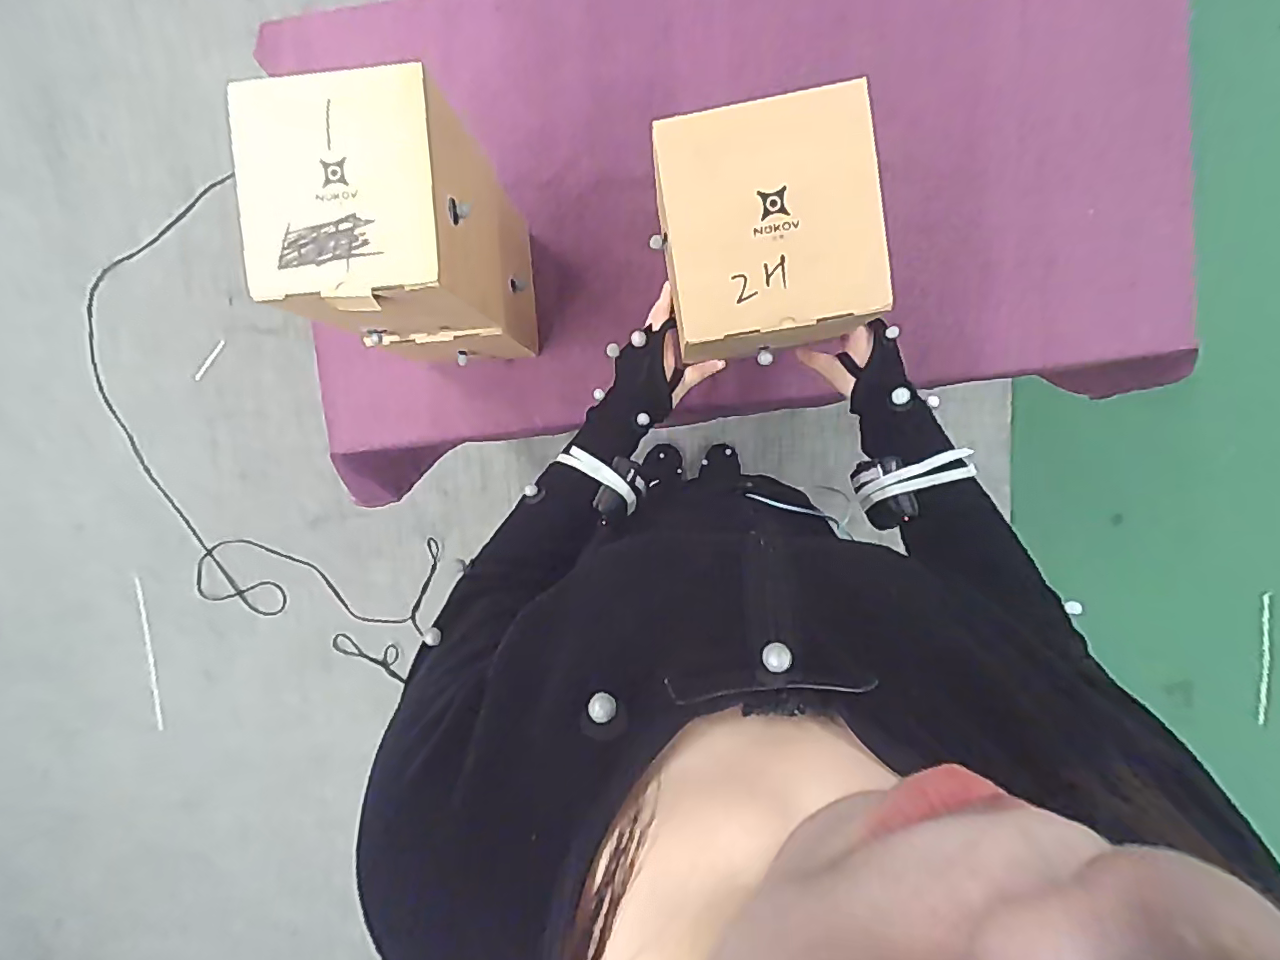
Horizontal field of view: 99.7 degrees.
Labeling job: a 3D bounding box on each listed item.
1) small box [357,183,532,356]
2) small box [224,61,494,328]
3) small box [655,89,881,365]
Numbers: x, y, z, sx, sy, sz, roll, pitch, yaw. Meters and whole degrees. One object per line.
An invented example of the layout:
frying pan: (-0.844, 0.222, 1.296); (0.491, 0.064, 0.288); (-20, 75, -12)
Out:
small box: (-0.240, -0.254, 0.681); (0.168, 0.176, 0.179); (-4, 95, 2)
small box: (-0.246, -0.247, 0.517); (0.168, 0.176, 0.179); (-3, 94, 3)
small box: (0.104, -0.213, 0.504); (0.168, 0.176, 0.179); (-7, 96, 4)
